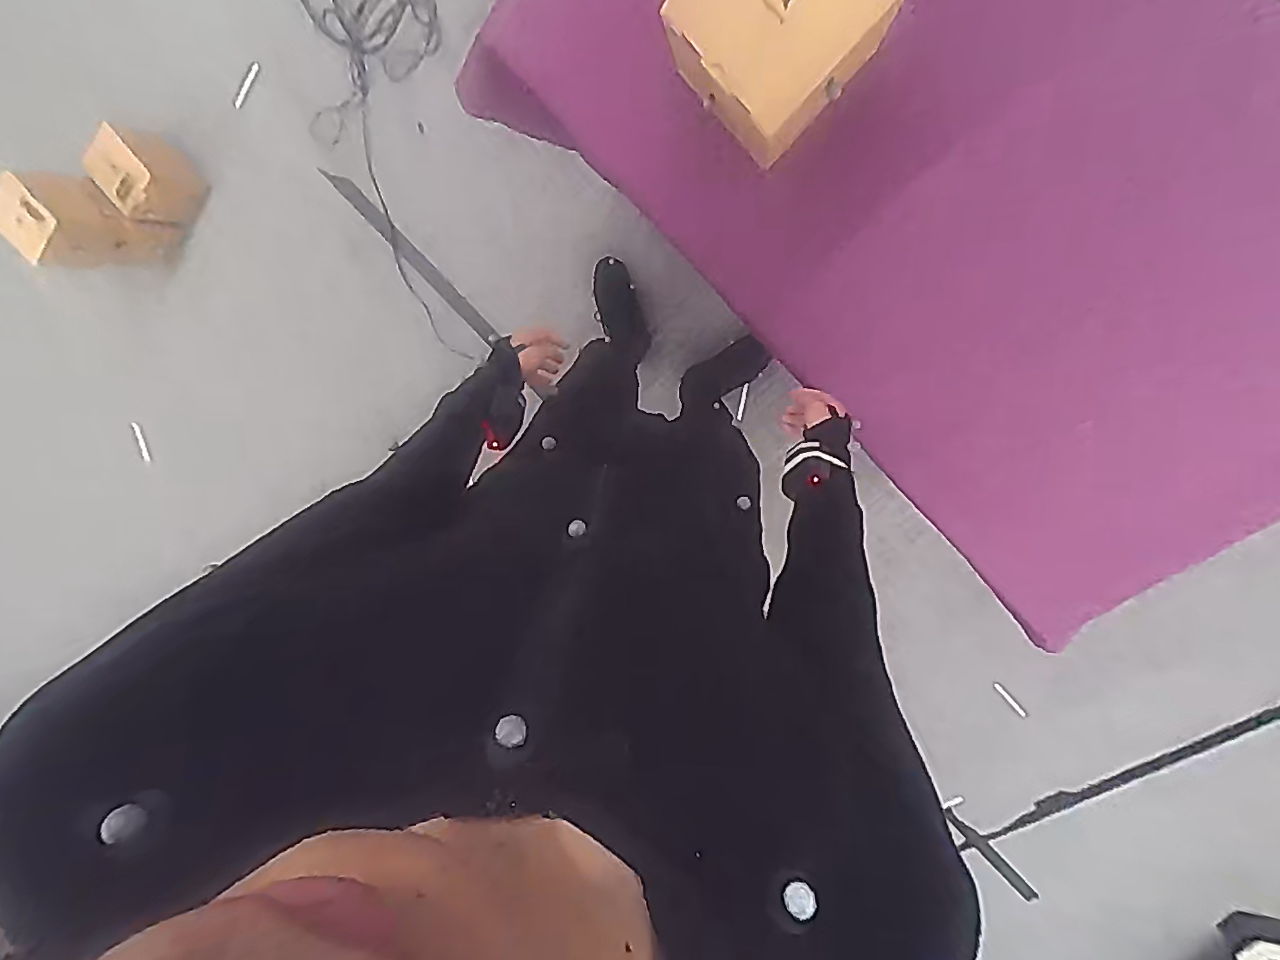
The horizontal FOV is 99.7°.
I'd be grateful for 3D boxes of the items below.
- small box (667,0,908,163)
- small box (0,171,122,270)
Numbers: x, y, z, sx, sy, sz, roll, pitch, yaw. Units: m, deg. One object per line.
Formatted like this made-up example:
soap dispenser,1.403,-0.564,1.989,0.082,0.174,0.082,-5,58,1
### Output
small box,0.152,-0.486,0.586,0.168,0.176,0.179,45,113,-7
small box,-1.575,-0.695,1.466,0.179,0.176,0.168,-36,99,23
